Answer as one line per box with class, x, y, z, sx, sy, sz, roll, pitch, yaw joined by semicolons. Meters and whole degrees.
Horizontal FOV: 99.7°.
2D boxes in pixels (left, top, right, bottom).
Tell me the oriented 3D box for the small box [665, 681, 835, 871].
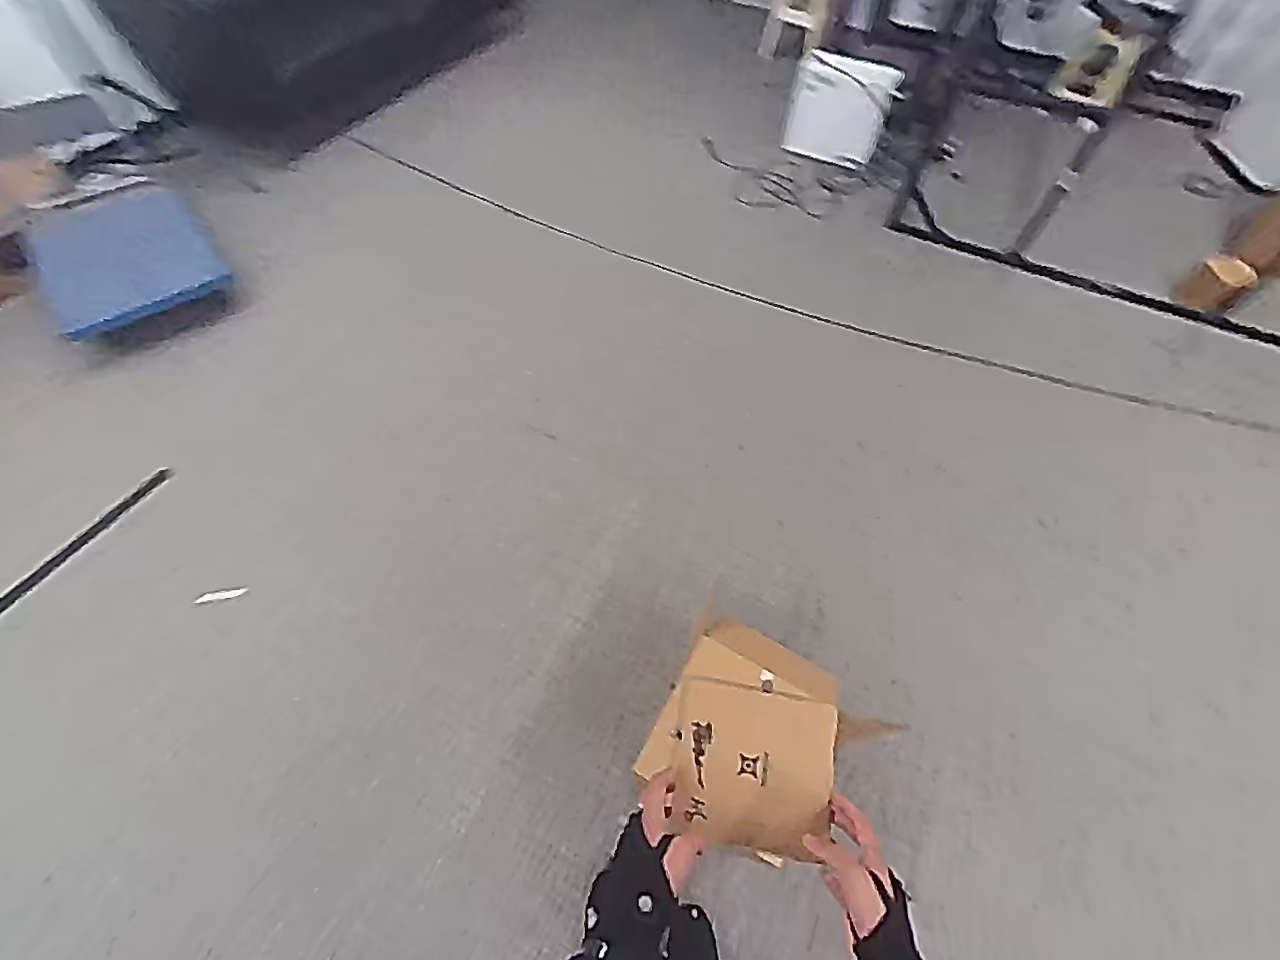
small box;0.131;0.360;0.693;0.179;0.176;0.168;9;74;4
